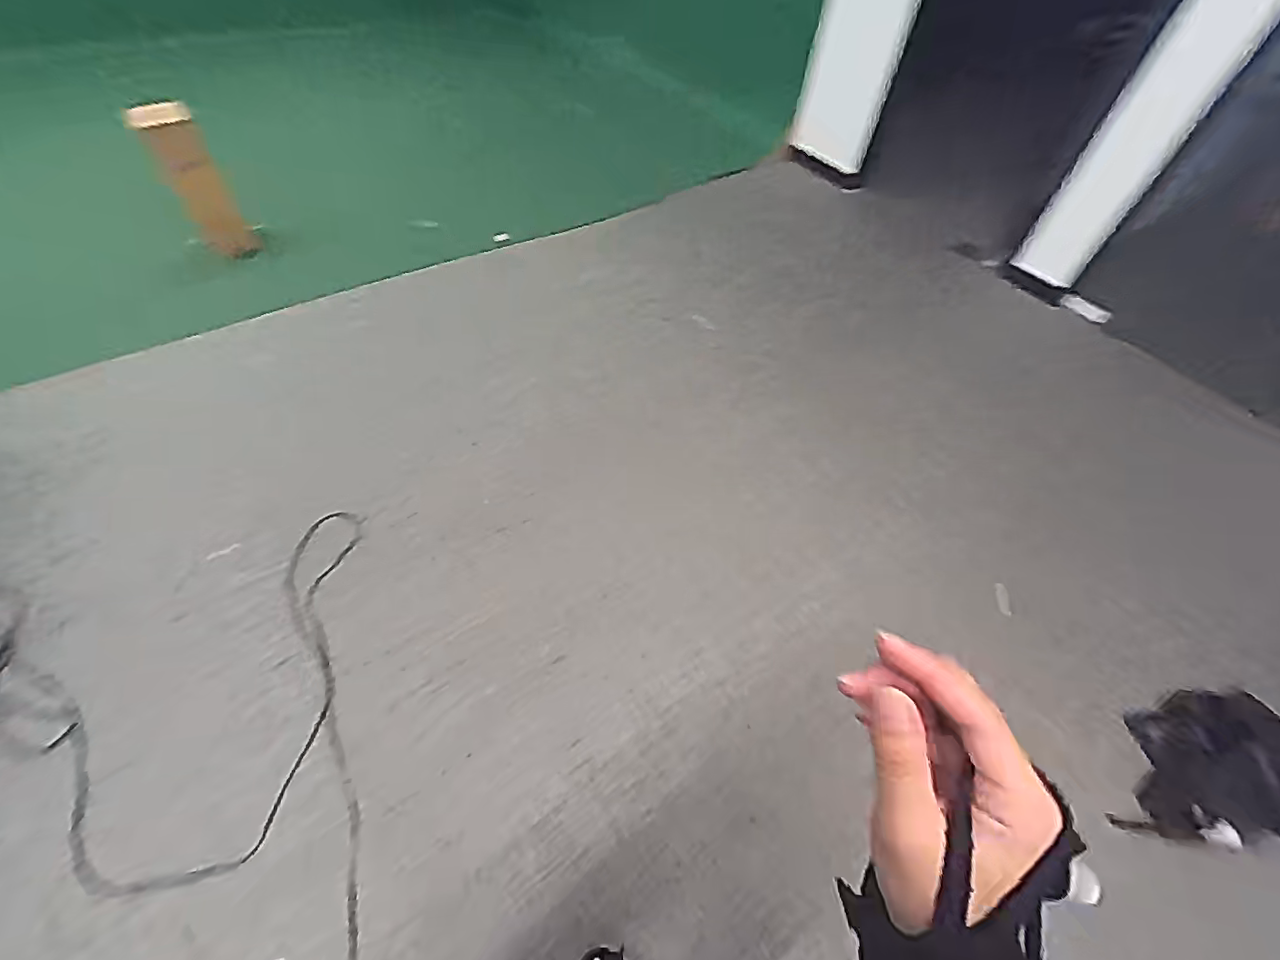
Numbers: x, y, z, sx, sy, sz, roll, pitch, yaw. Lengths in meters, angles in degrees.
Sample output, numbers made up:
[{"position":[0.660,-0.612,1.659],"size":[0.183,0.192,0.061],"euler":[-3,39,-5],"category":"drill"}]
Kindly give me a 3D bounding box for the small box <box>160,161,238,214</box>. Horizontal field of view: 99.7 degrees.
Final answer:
[{"position":[-1.705,-1.154,2.093],"size":[0.168,0.176,0.179],"euler":[-30,61,-23],"category":"small box"}]

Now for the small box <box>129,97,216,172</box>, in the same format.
[{"position":[-1.694,-1.253,1.964],"size":[0.168,0.176,0.179],"euler":[-30,62,-22],"category":"small box"}]
